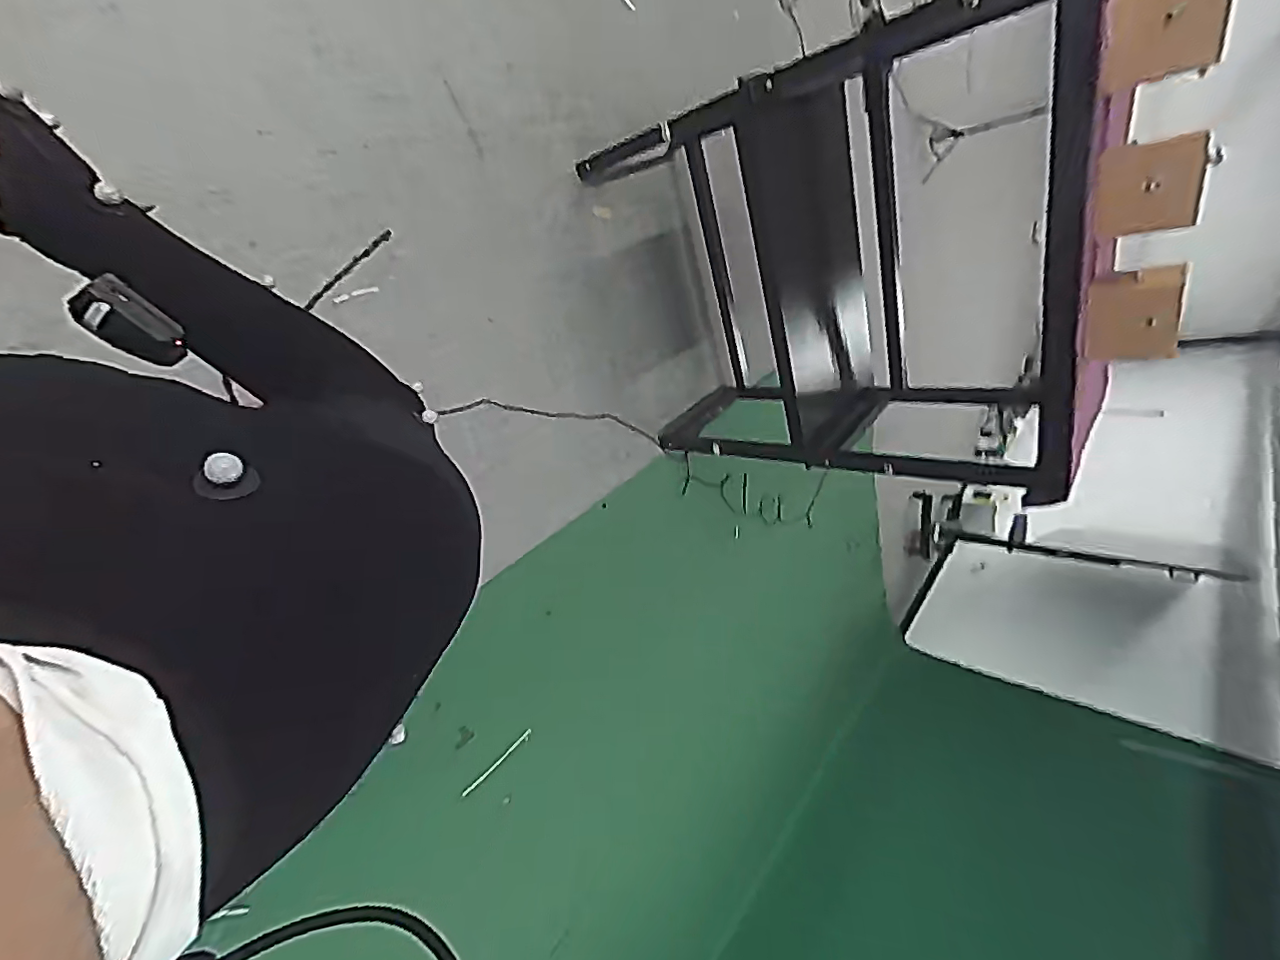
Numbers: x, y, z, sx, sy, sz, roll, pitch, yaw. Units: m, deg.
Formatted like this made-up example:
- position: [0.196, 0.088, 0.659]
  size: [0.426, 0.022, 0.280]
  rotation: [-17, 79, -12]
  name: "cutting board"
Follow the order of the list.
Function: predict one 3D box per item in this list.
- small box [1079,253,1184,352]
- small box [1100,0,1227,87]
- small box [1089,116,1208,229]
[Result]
- position: [1.162, -0.416, 1.284]
  size: [0.168, 0.176, 0.179]
  rotation: [-39, 123, -35]
  name: "small box"
- position: [1.005, -0.891, 1.038]
  size: [0.168, 0.176, 0.179]
  rotation: [-36, 121, -36]
  name: "small box"
- position: [1.089, -0.655, 1.166]
  size: [0.168, 0.176, 0.179]
  rotation: [-36, 120, -38]
  name: "small box"
